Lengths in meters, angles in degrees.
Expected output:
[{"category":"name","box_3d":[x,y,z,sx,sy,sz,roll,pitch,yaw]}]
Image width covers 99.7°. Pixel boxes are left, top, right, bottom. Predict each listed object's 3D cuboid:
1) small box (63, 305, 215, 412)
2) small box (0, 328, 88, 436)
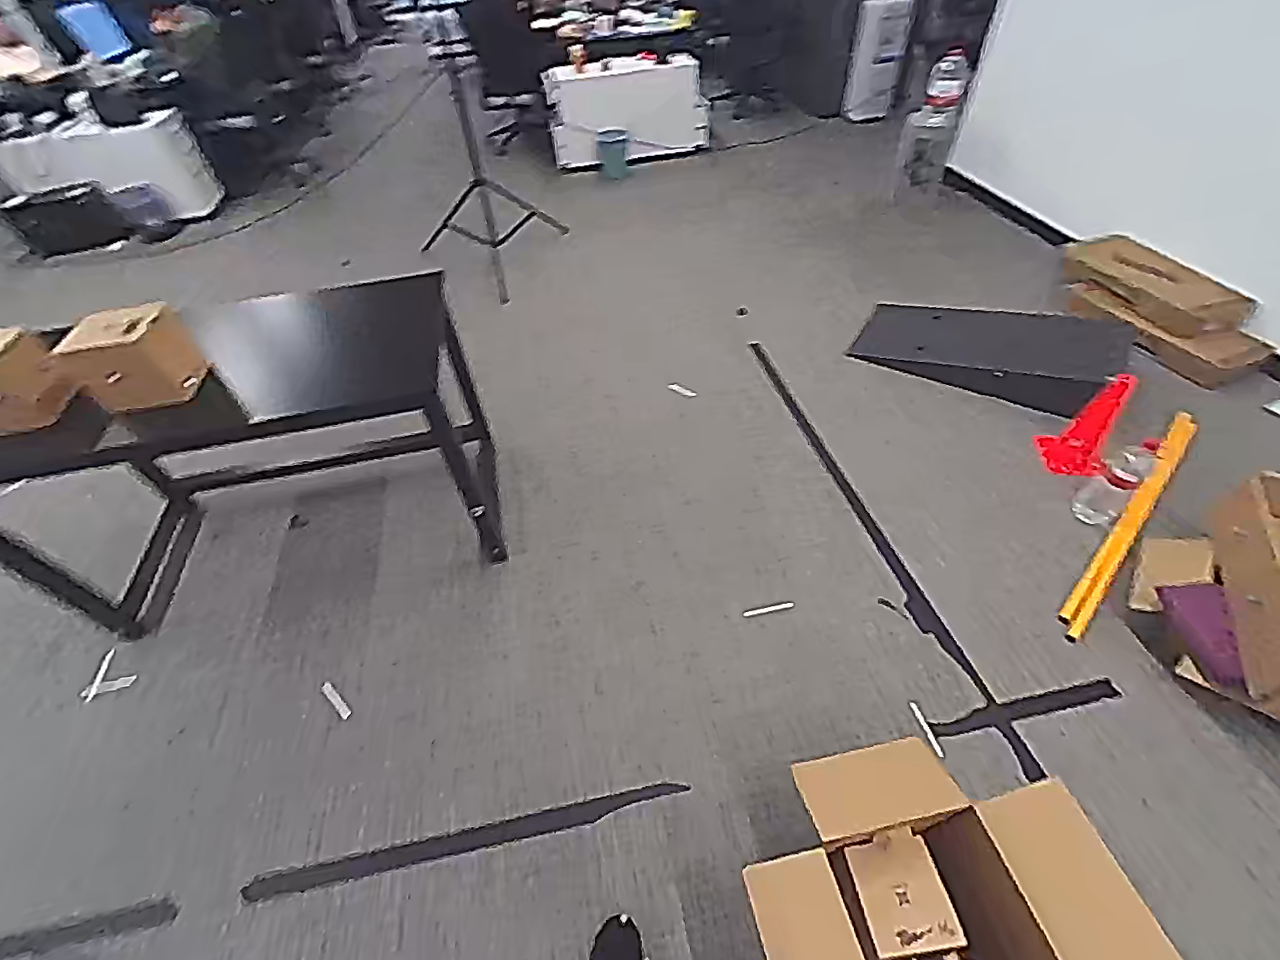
[{"category":"small box","box_3d":[-1.156,-0.283,1.269,0.179,0.176,0.168,-11,48,-5]},{"category":"small box","box_3d":[-1.442,-0.218,1.233,0.179,0.176,0.168,-14,47,-7]}]
